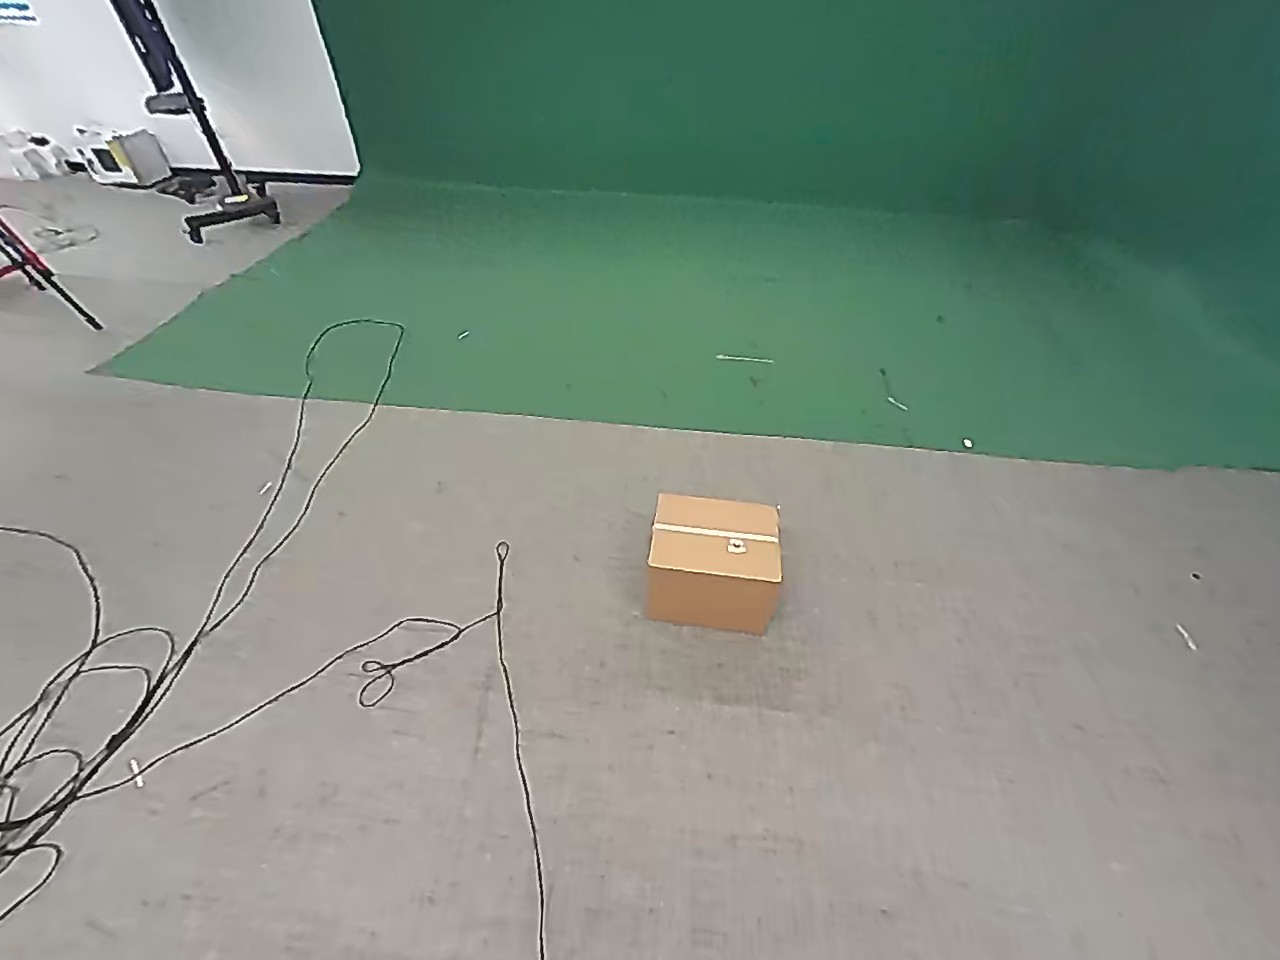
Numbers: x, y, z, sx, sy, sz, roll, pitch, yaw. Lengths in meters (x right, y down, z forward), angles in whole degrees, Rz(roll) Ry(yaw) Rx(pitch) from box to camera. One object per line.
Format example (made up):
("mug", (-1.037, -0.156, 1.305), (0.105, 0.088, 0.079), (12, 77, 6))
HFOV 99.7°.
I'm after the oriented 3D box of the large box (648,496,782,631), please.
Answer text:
("large box", (0.242, 0.284, 1.840), (0.408, 0.320, 0.320), (7, 45, 5))
